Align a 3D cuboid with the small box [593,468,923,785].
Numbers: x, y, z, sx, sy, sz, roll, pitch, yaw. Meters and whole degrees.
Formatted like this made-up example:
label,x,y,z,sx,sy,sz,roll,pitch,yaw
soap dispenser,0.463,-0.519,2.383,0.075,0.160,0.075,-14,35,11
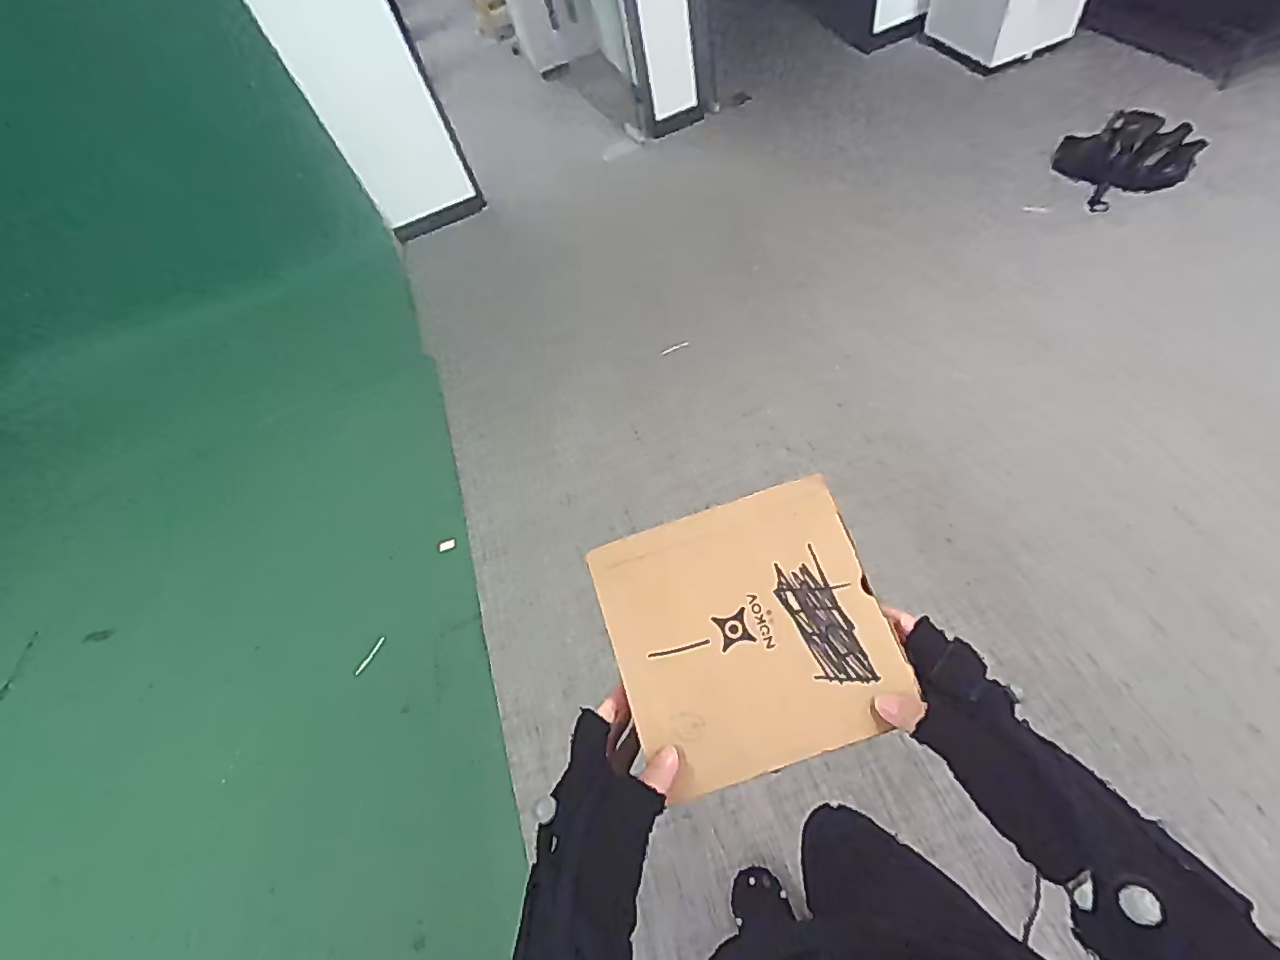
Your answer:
label,x,y,z,sx,sy,sz,roll,pitch,yaw
small box,0.078,0.112,0.432,0.179,0.176,0.168,-18,71,0
